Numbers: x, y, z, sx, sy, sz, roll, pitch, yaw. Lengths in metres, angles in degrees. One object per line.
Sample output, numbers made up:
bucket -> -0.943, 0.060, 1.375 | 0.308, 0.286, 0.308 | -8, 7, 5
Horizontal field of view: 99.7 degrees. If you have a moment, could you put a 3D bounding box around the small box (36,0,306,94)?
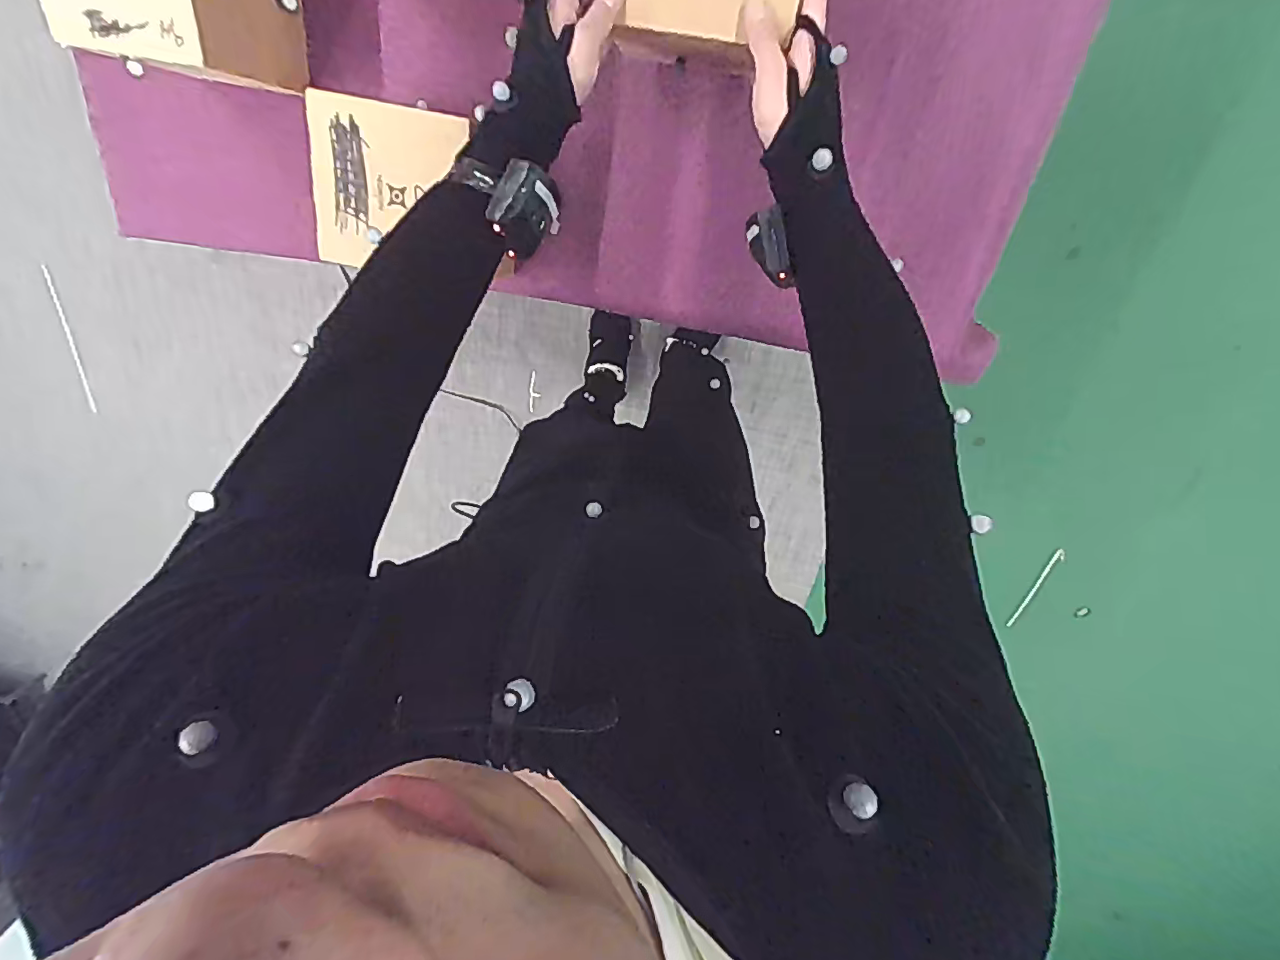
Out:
small box -> -0.494, -0.544, 0.576 | 0.168, 0.176, 0.179 | 12, 117, 3

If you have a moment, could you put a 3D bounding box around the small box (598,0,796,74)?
small box -> 0.065, -0.493, 0.482 | 0.168, 0.176, 0.179 | 11, 121, 2
